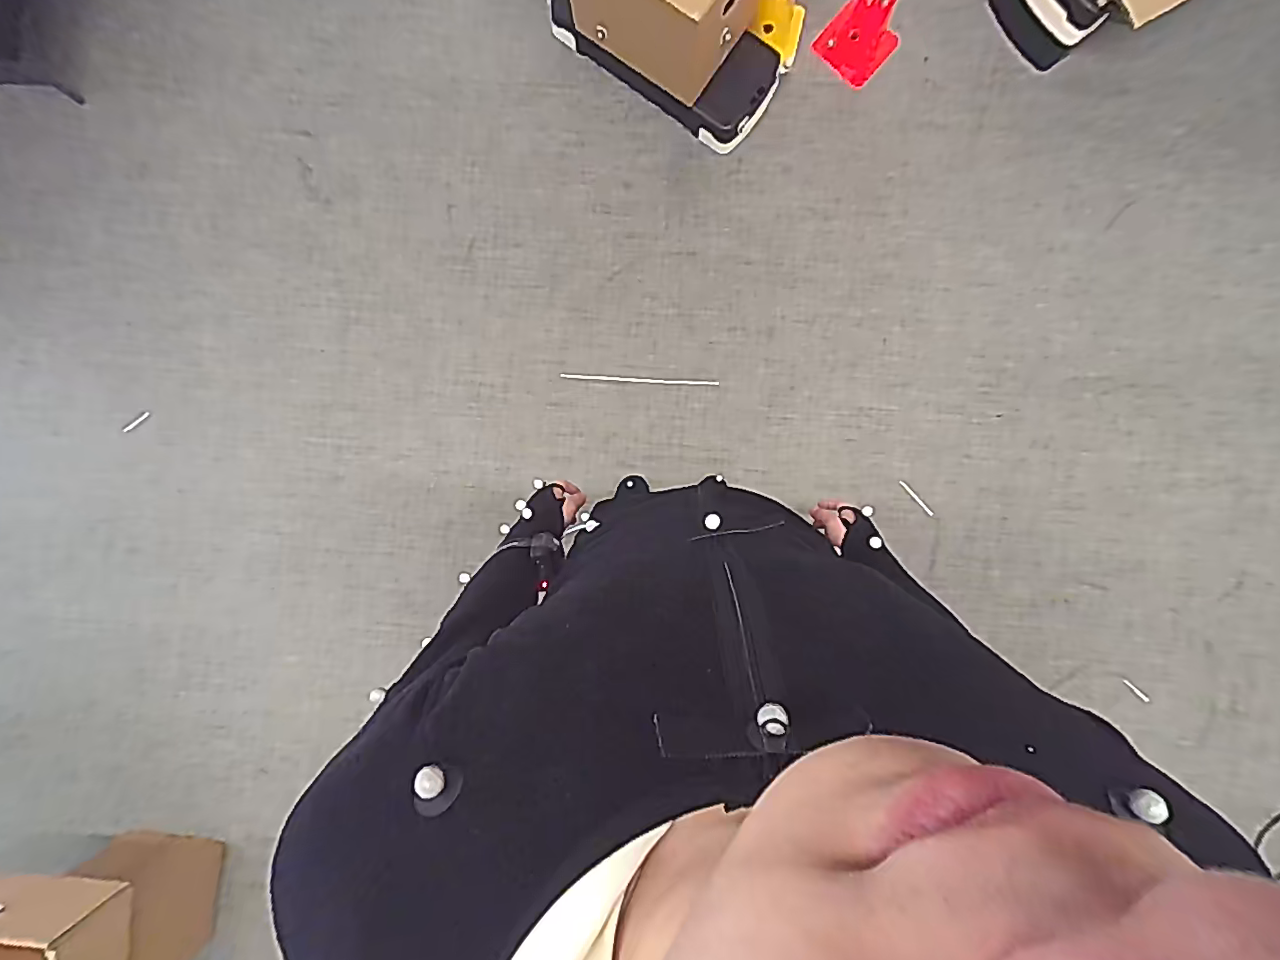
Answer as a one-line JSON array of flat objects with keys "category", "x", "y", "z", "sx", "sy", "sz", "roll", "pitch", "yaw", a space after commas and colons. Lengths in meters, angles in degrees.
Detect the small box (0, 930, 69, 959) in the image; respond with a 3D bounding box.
[{"category": "small box", "x": -1.431, "y": 1.136, "z": 1.184, "sx": 0.179, "sy": 0.176, "sz": 0.168, "roll": 6, "pitch": 90, "yaw": 1}]
